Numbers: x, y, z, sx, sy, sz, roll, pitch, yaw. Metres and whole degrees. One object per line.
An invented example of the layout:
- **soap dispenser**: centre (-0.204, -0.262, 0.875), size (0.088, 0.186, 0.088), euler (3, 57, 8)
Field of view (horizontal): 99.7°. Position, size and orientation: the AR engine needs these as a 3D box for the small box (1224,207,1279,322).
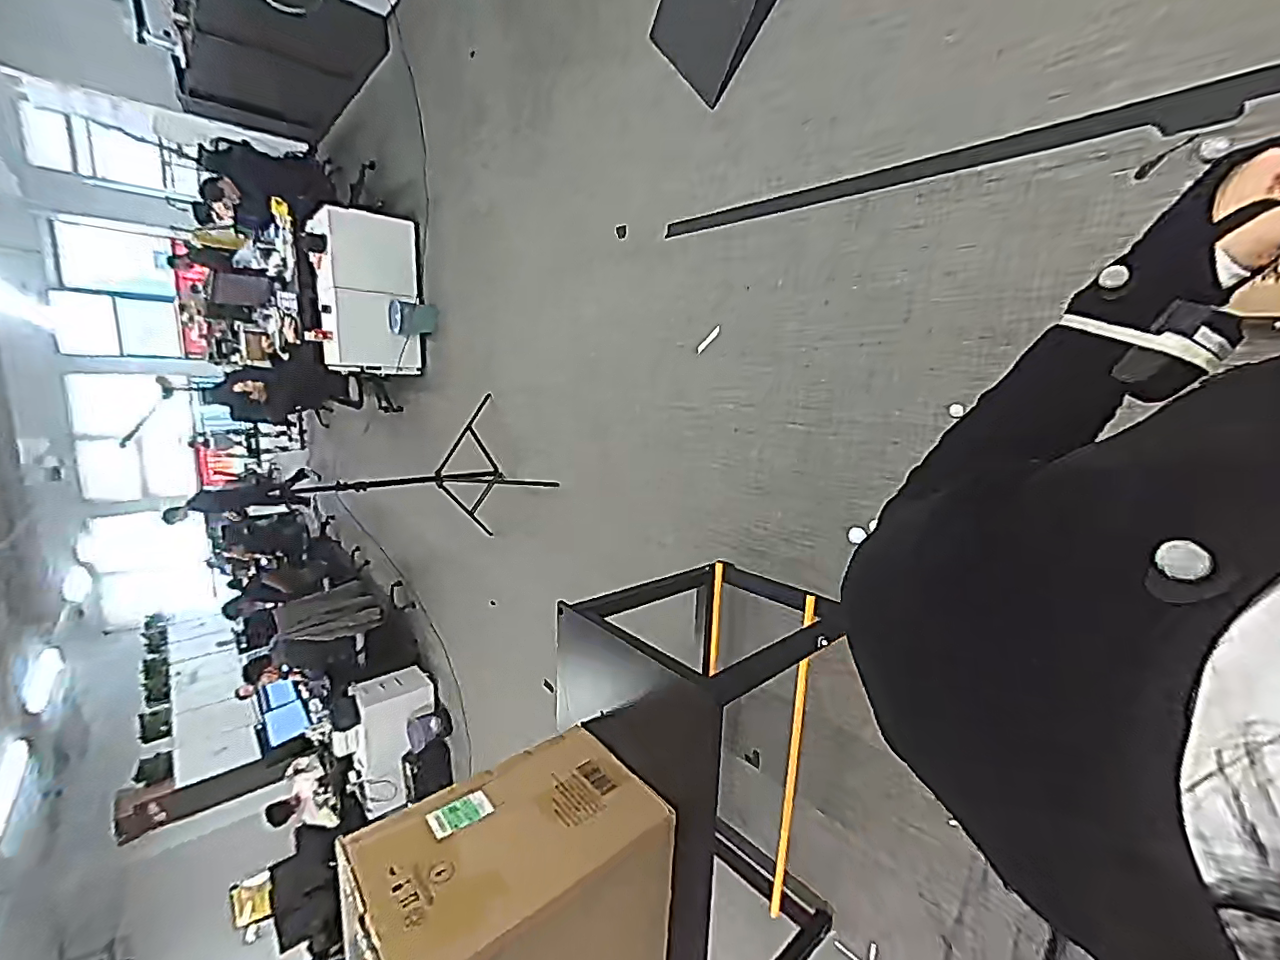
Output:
- **small box**: centre (1.116, -0.351, 0.891), size (0.179, 0.176, 0.168), euler (20, 111, 45)
